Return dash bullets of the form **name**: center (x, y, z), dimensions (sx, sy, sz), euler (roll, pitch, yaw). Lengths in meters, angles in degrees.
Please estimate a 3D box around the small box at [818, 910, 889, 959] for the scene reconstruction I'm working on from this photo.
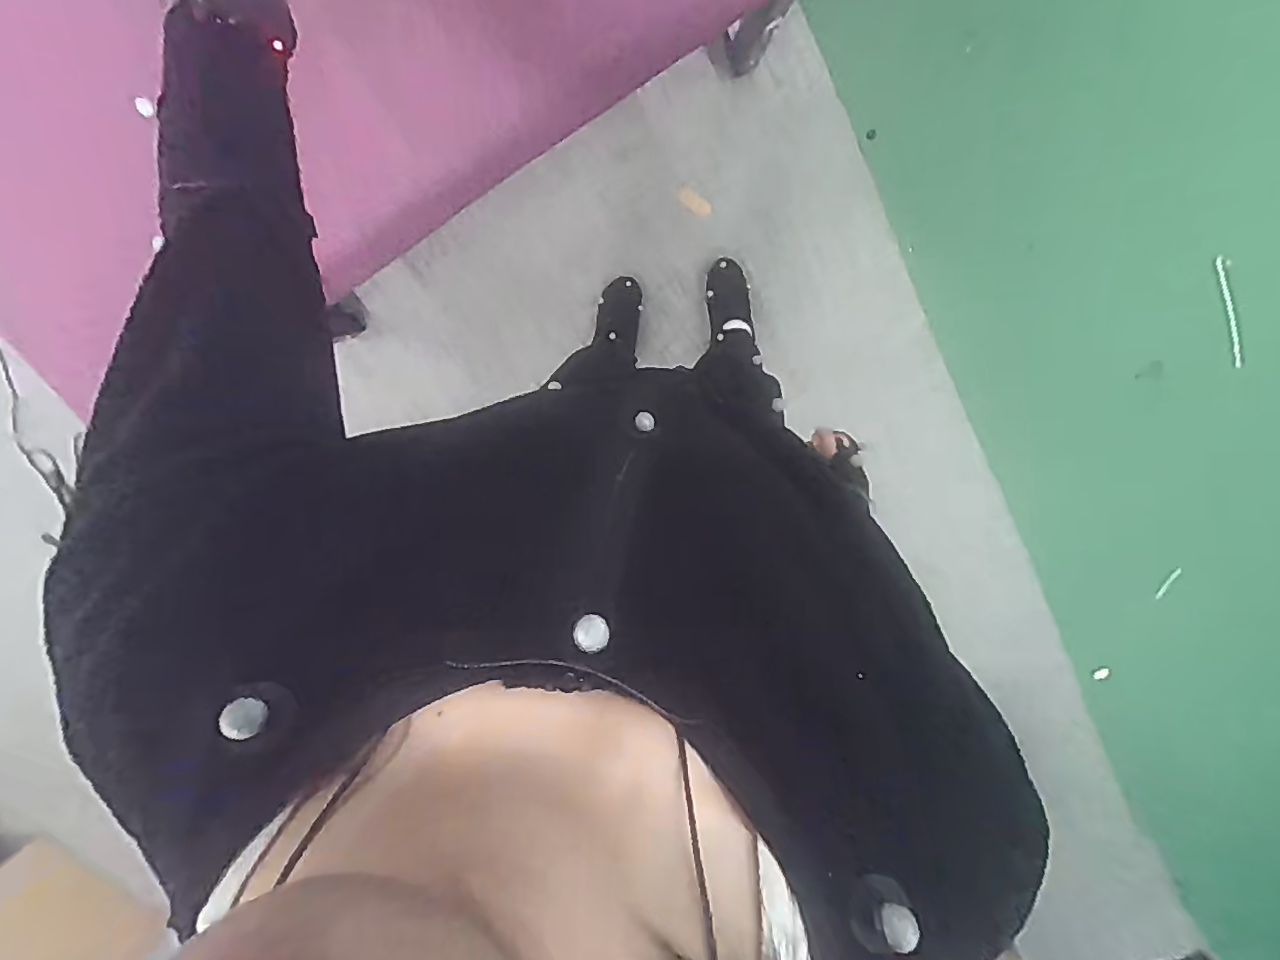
- **small box**: center (0.650, 1.428, 1.617), dimensions (0.168, 0.176, 0.179), euler (-20, 110, 7)
